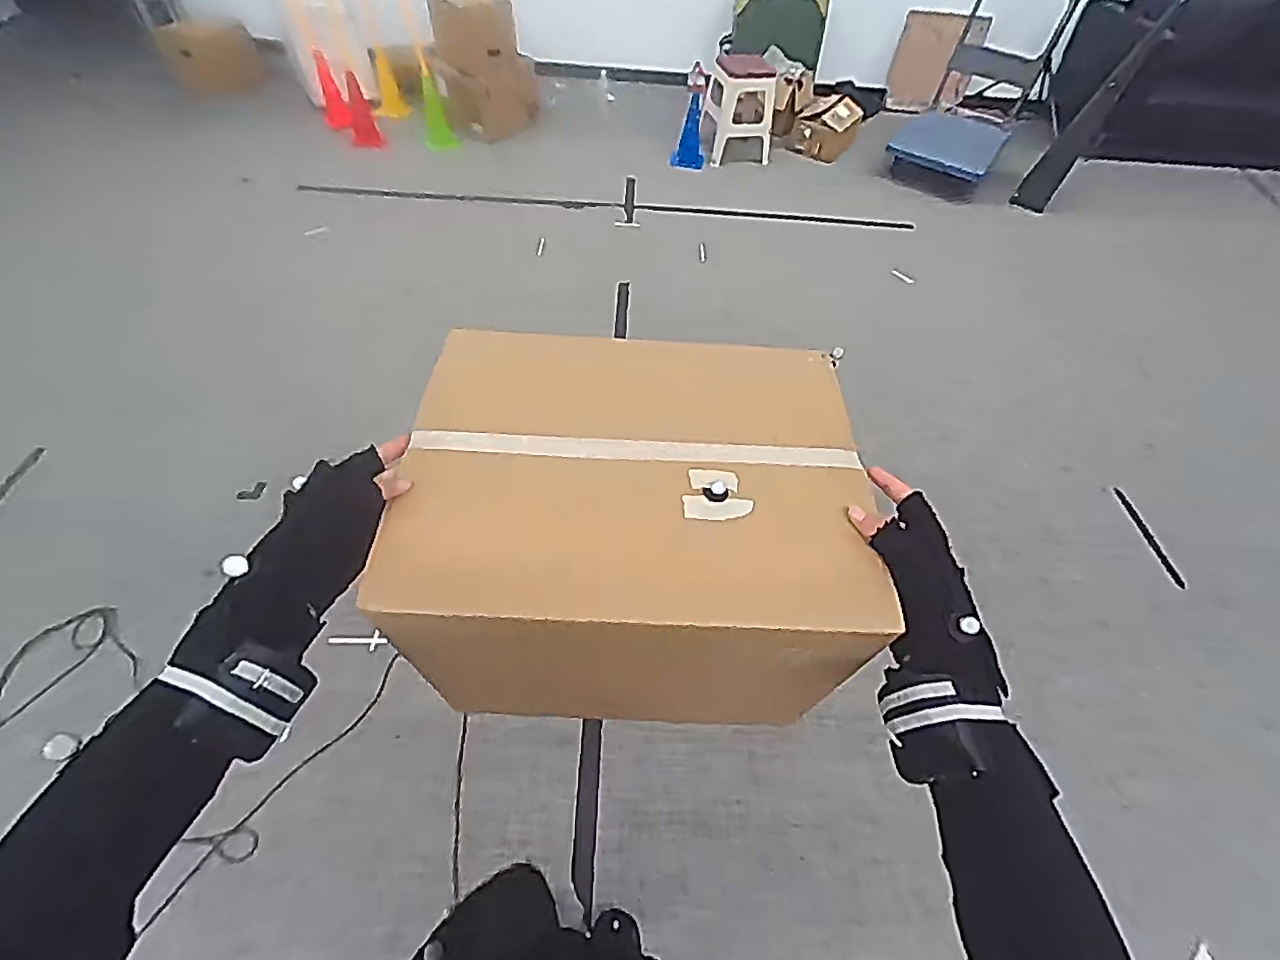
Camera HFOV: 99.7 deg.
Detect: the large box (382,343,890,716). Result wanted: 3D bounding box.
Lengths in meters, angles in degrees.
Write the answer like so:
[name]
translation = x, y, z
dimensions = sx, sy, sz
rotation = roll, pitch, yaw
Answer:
[large box]
translation = -0.007, 0.070, 0.622
dimensions = 0.408, 0.320, 0.320
rotation = 3, 54, -2
